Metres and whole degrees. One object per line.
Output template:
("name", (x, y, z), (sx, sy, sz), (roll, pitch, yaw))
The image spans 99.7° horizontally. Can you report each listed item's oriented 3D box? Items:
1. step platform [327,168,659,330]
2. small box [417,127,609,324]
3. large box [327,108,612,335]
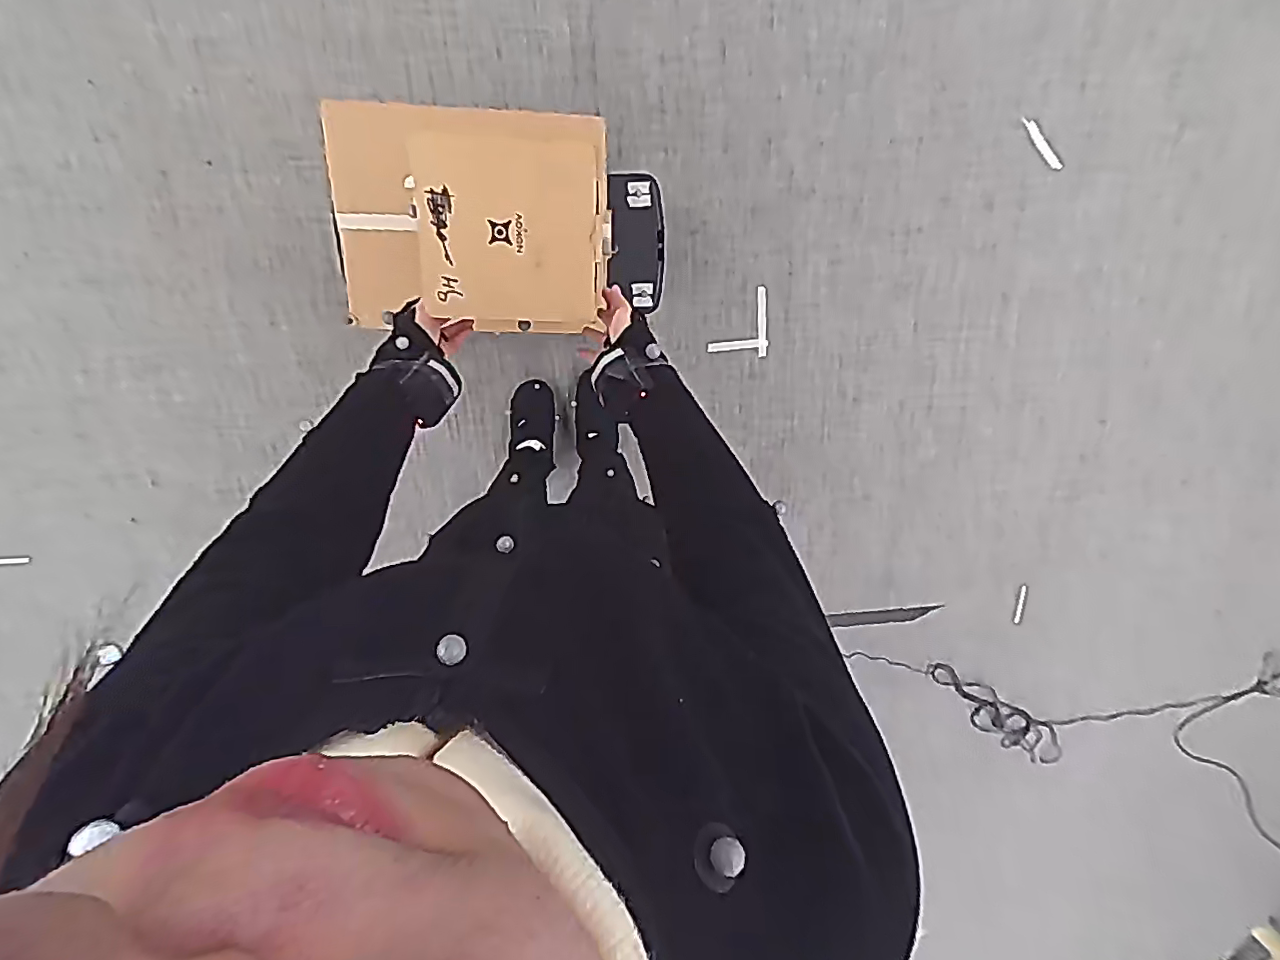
("step platform", (-0.298, -0.496, 1.188), (0.684, 0.204, 0.286), (2, 109, -5))
("small box", (-0.129, -0.265, 0.598), (0.179, 0.176, 0.168), (0, 108, -7))
("large box", (-0.256, -0.431, 0.962), (0.408, 0.320, 0.320), (0, 108, -5))
